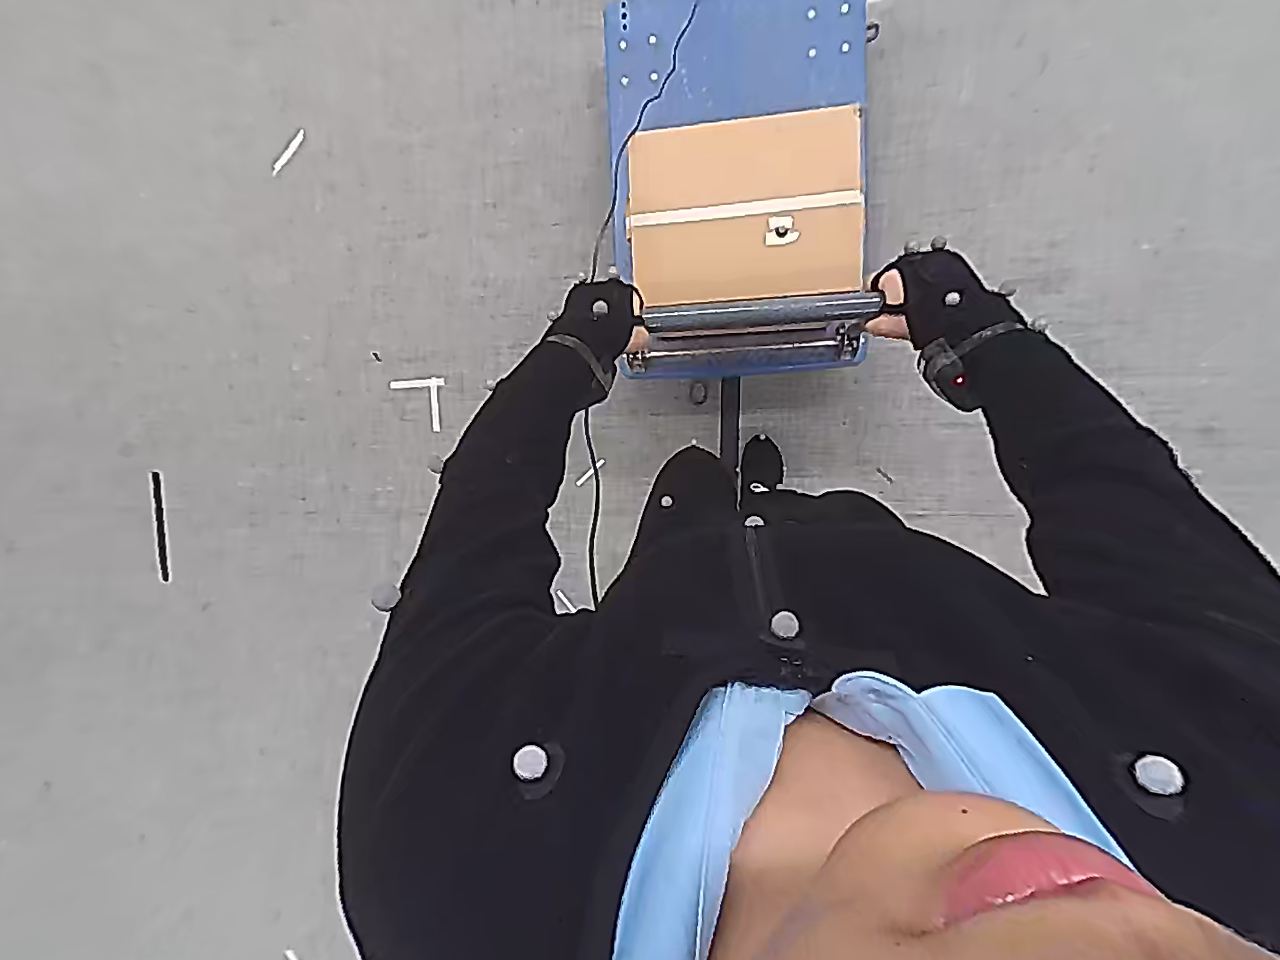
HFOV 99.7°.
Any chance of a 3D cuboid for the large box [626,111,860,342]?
[{"bbox_3d":[0.197,-0.476,1.102,0.408,0.320,0.320,-2,95,8],"label":"large box"}]
